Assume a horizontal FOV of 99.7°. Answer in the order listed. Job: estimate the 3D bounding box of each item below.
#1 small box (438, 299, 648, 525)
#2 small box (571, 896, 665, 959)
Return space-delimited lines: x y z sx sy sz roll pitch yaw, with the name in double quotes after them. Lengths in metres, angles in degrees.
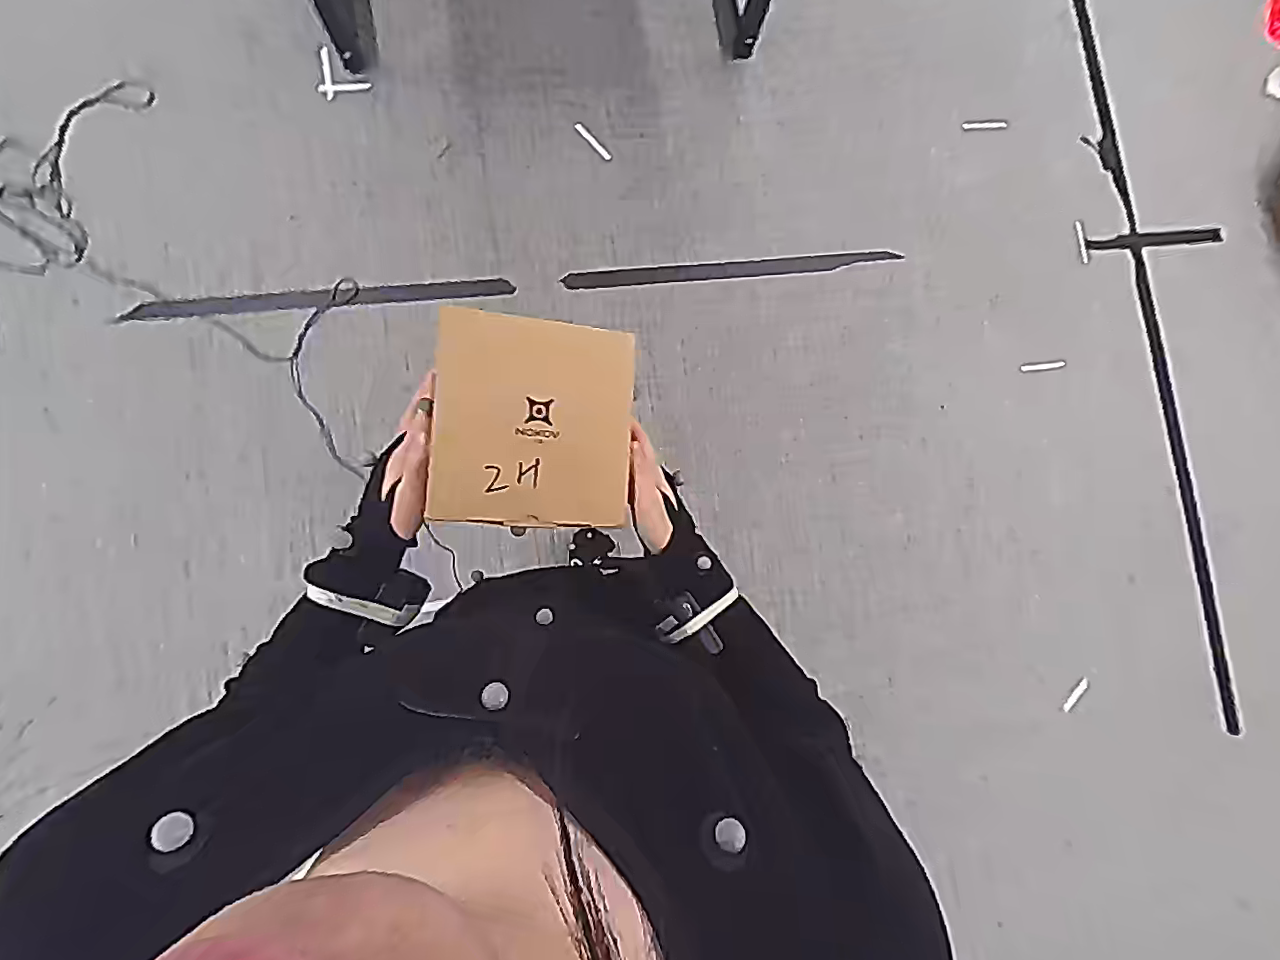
-0.100 -0.050 0.531 0.168 0.176 0.179 6 86 -17 "small box"
-0.040 0.966 1.060 0.179 0.176 0.168 -9 85 -7 "small box"
